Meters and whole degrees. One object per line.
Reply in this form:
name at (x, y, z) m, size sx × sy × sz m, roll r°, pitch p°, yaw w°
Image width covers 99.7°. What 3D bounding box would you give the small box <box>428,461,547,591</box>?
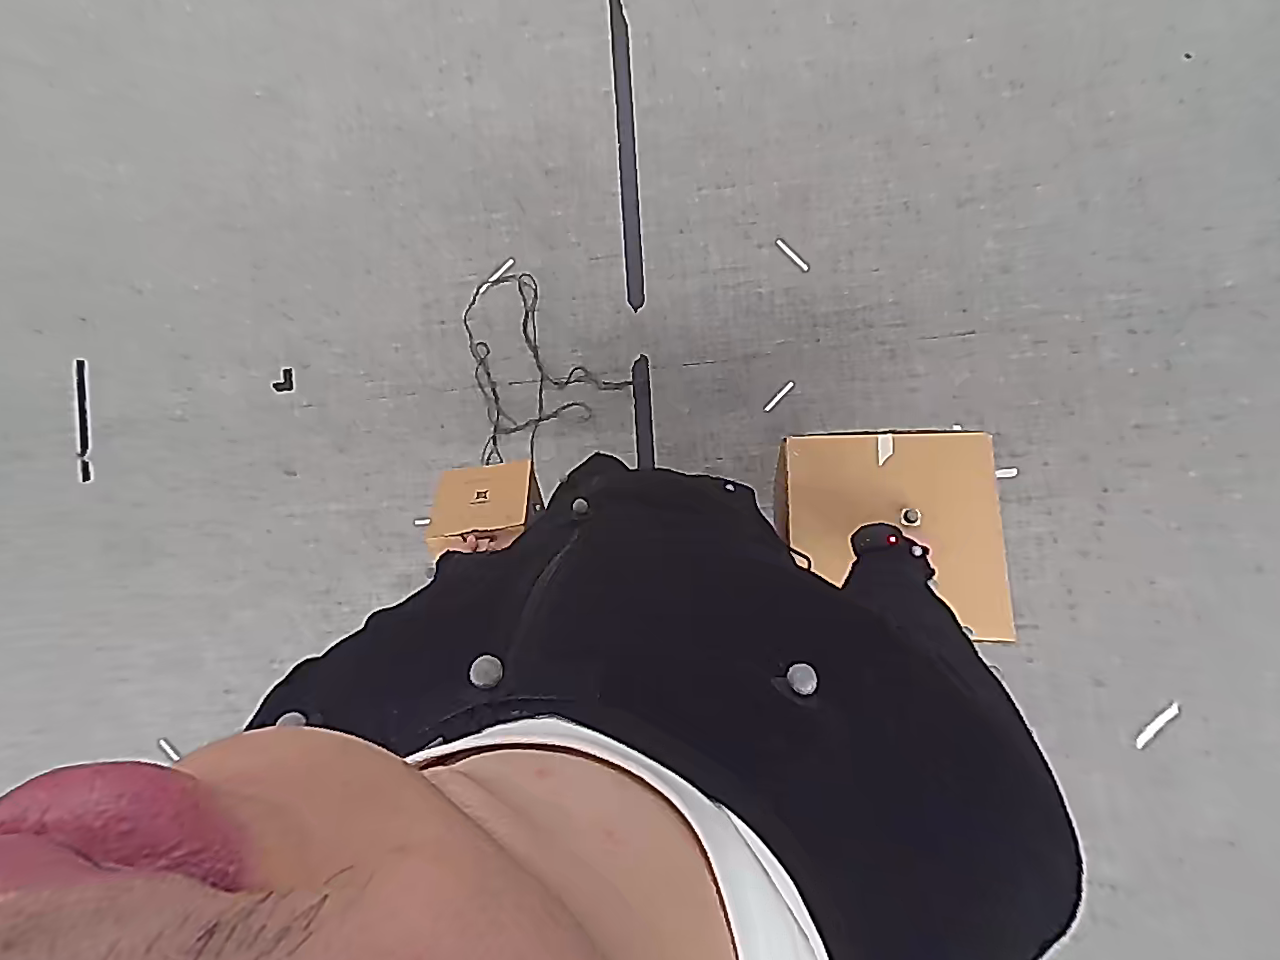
small box at (-0.271, 0.091, 1.003) m, size 0.168 × 0.179 × 0.176 m, roll -7°, pitch 131°, yaw -1°
